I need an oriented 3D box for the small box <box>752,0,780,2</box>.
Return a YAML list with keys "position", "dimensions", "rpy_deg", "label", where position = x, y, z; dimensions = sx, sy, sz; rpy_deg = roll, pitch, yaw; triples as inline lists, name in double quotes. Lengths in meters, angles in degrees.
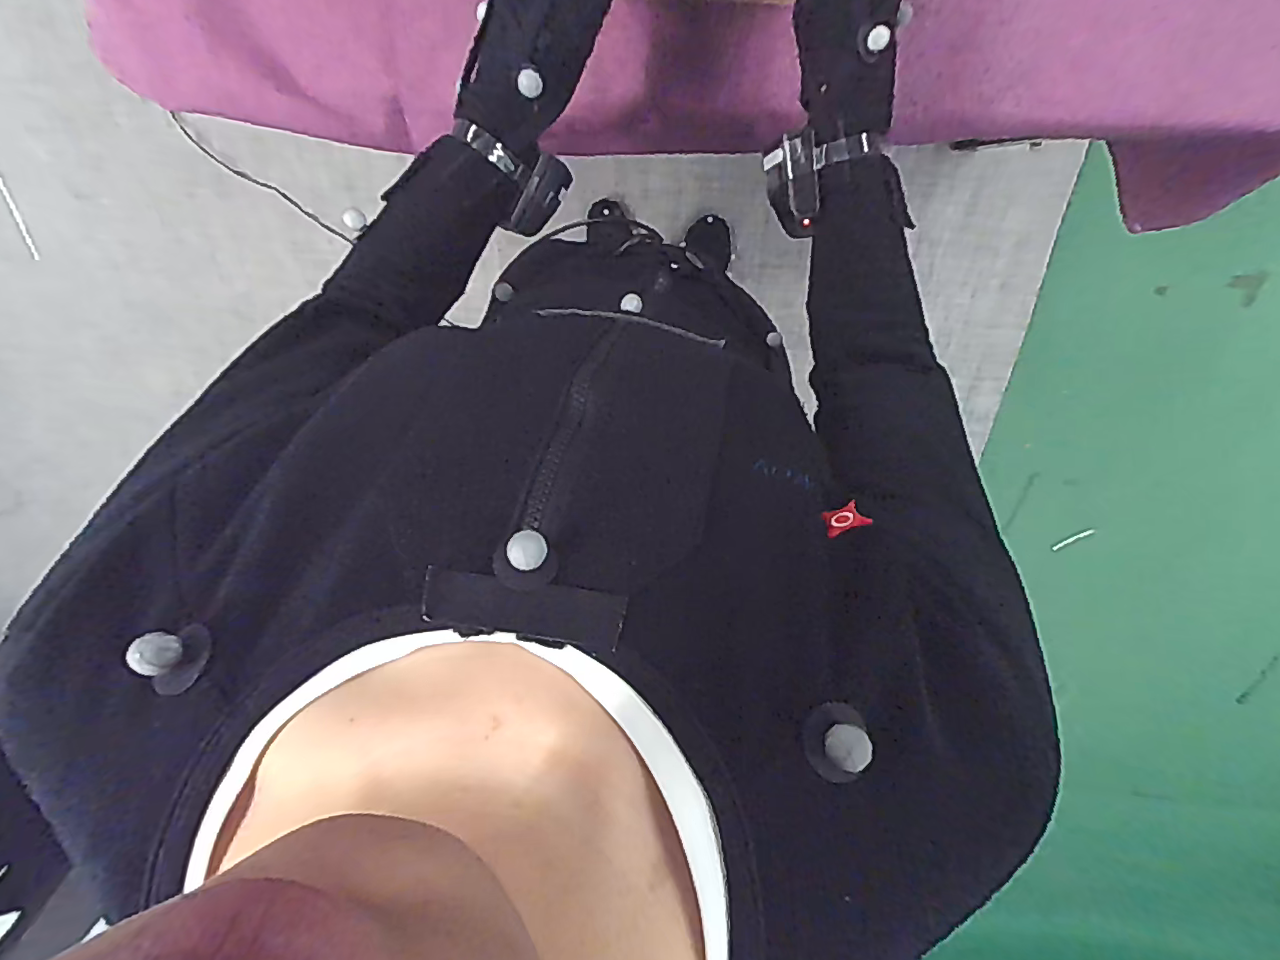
- position: [0.062, -0.490, 0.399]
  dimensions: [0.168, 0.176, 0.179]
  rpy_deg: [5, 118, 1]
  label: "small box"
